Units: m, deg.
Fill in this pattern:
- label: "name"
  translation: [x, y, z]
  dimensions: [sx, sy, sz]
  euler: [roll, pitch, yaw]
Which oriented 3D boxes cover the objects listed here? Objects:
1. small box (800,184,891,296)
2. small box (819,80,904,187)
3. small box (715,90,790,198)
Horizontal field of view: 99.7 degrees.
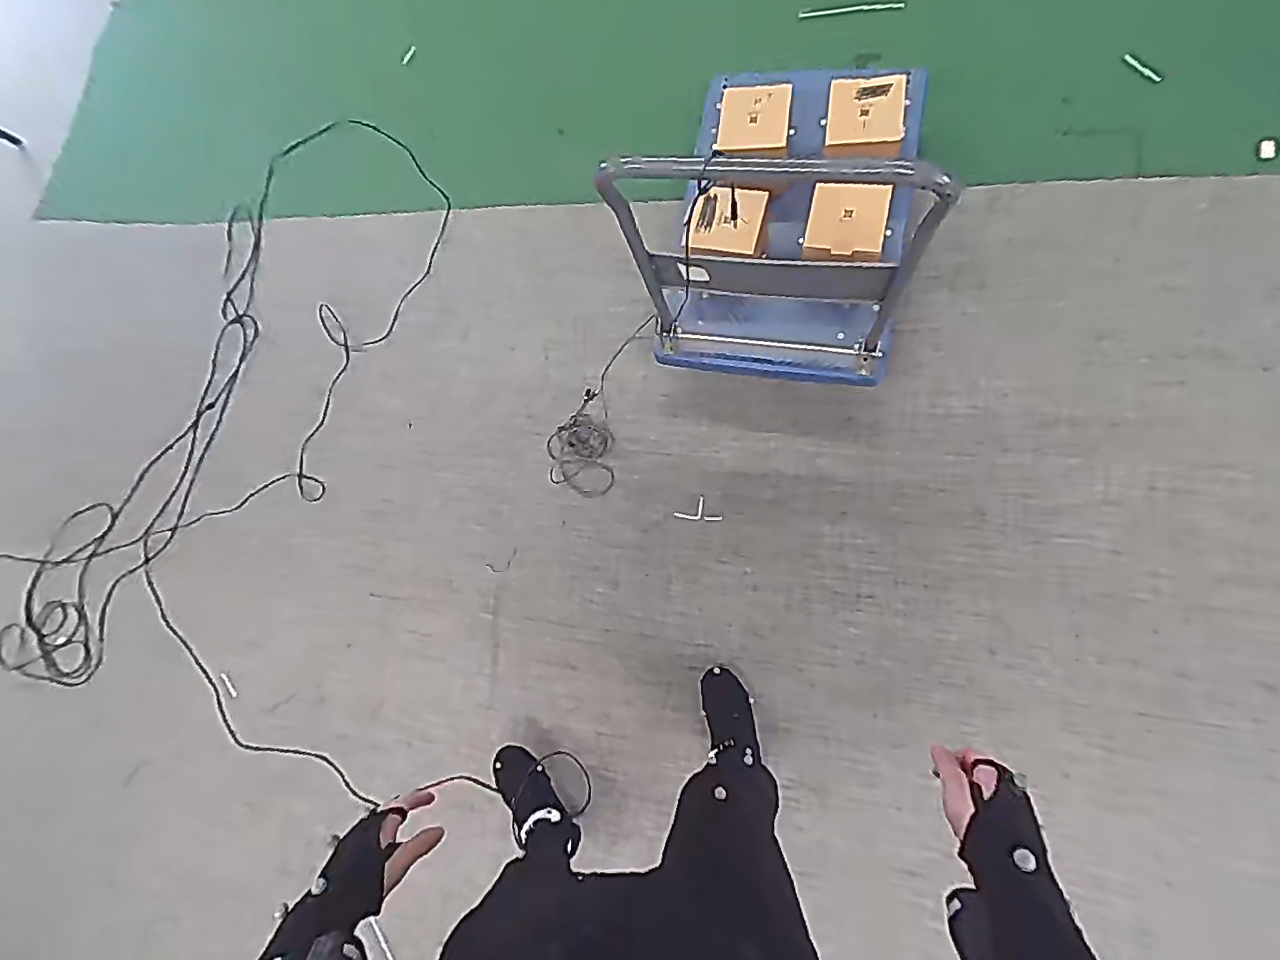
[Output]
- label: "small box"
  translation: [0.478, -0.563, 1.280]
  dimensions: [0.168, 0.176, 0.179]
  euler: [10, 82, 15]
- label: "small box"
  translation: [0.533, -0.825, 1.320]
  dimensions: [0.168, 0.176, 0.179]
  euler: [6, 81, 15]
- label: "small box"
  translation: [0.290, -0.848, 1.383]
  dimensions: [0.168, 0.176, 0.179]
  euler: [6, 80, 14]
